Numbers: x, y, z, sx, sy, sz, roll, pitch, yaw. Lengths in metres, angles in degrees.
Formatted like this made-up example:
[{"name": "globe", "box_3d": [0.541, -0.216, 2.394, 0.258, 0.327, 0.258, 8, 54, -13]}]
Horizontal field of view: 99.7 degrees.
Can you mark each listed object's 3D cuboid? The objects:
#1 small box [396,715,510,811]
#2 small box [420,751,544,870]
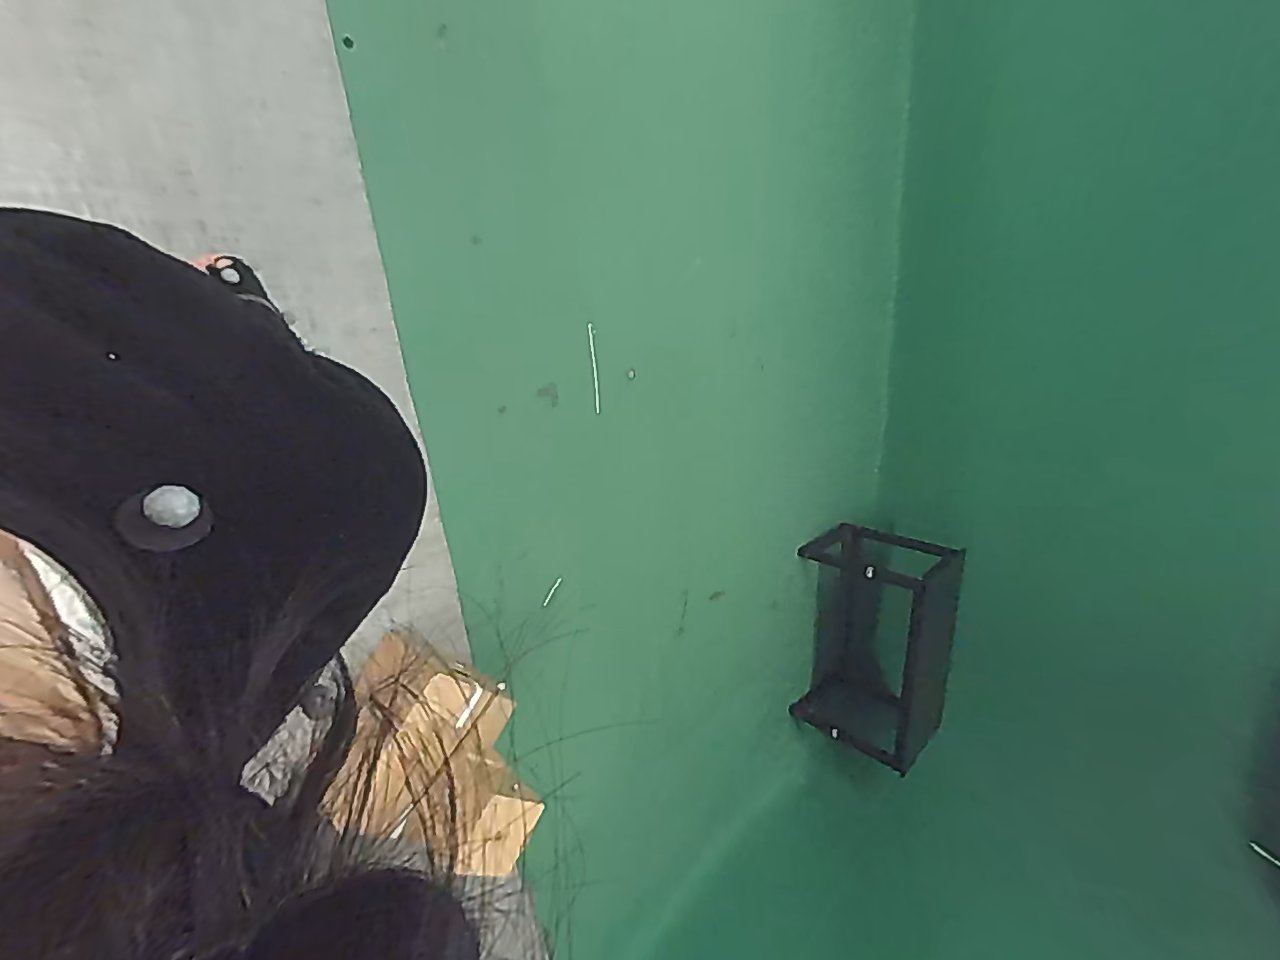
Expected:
[{"name": "small box", "box_3d": [-0.472, 0.724, 1.363, 0.168, 0.176, 0.179, -57, 133, -18]}, {"name": "small box", "box_3d": [-0.364, 0.755, 1.245, 0.179, 0.176, 0.168, 46, 67, -41]}]
